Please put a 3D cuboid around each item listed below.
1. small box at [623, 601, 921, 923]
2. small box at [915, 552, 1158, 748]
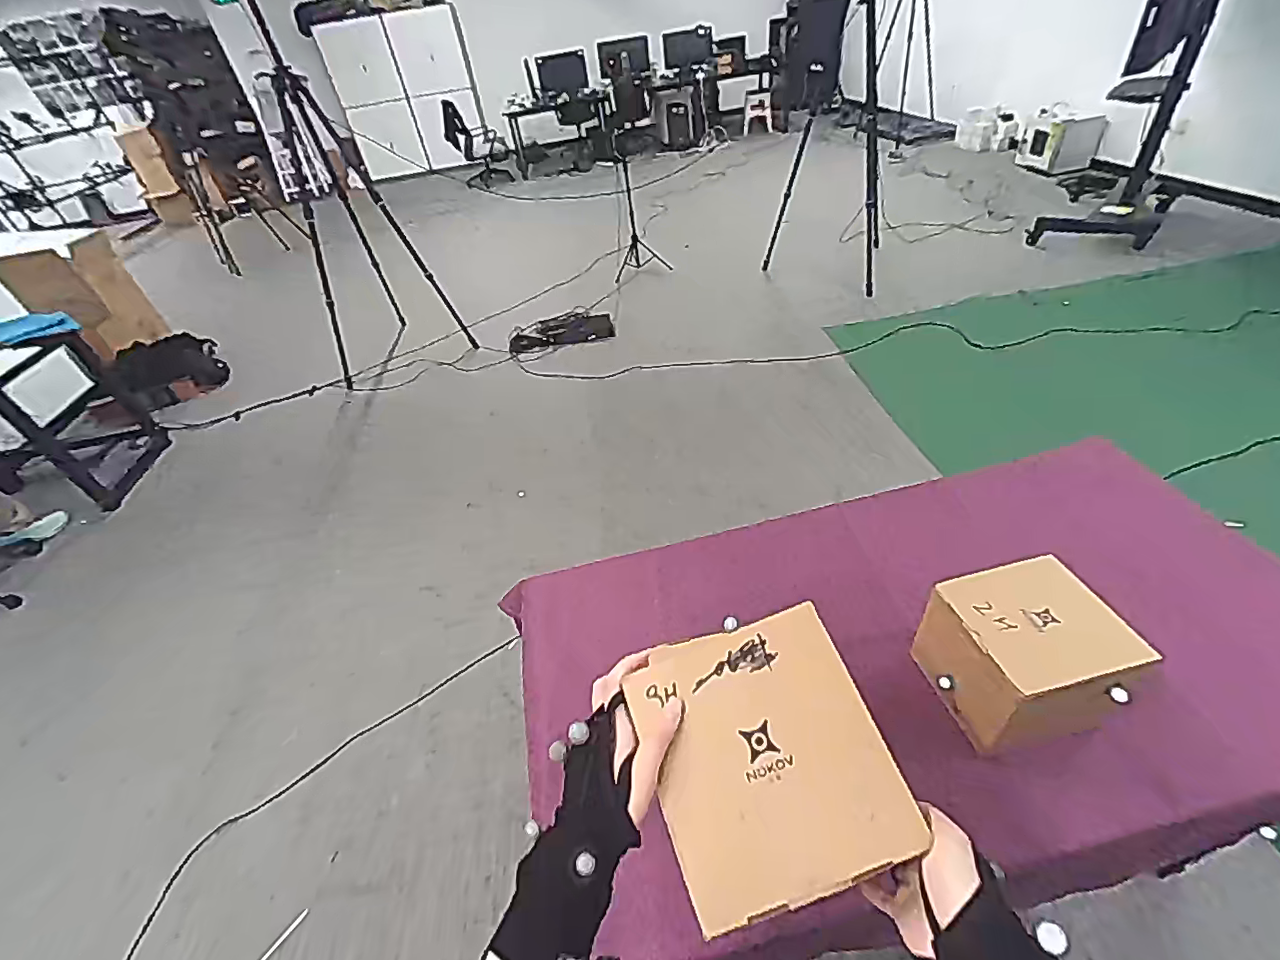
[{"bbox_3d":[0.102,0.228,0.470,0.168,0.176,0.179,-22,65,0],"label":"small box"},{"bbox_3d":[0.504,0.227,0.722,0.179,0.176,0.168,-14,41,-3],"label":"small box"}]
